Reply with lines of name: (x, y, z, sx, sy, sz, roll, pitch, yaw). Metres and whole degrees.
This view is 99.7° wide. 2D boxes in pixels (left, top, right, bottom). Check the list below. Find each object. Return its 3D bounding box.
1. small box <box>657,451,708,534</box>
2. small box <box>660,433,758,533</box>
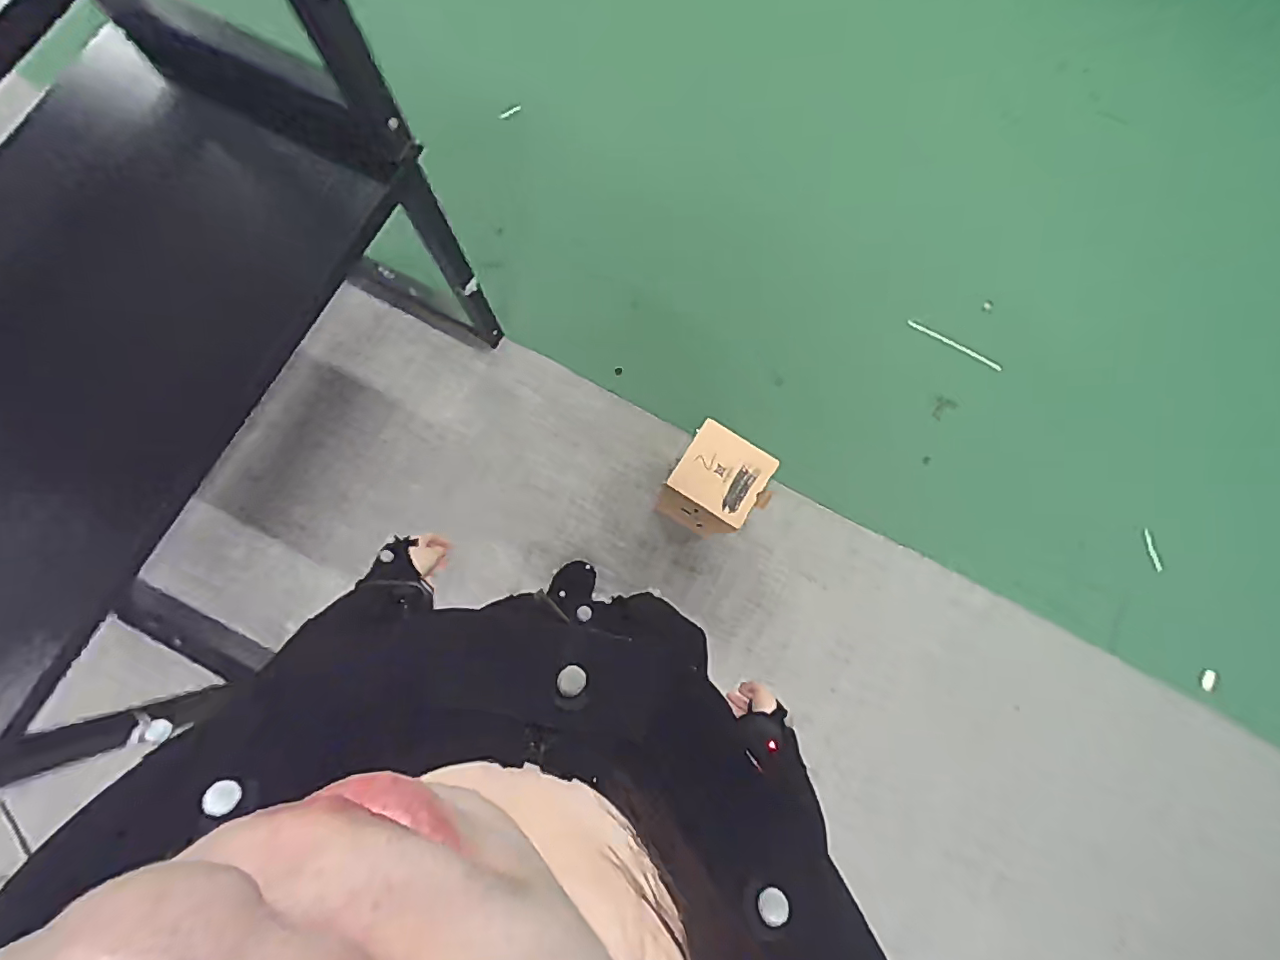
small box: (0.159, 0.037, 1.470, 0.179, 0.176, 0.168, 32, 81, 2)
small box: (0.159, 0.016, 1.310, 0.168, 0.176, 0.179, 30, 80, 2)
